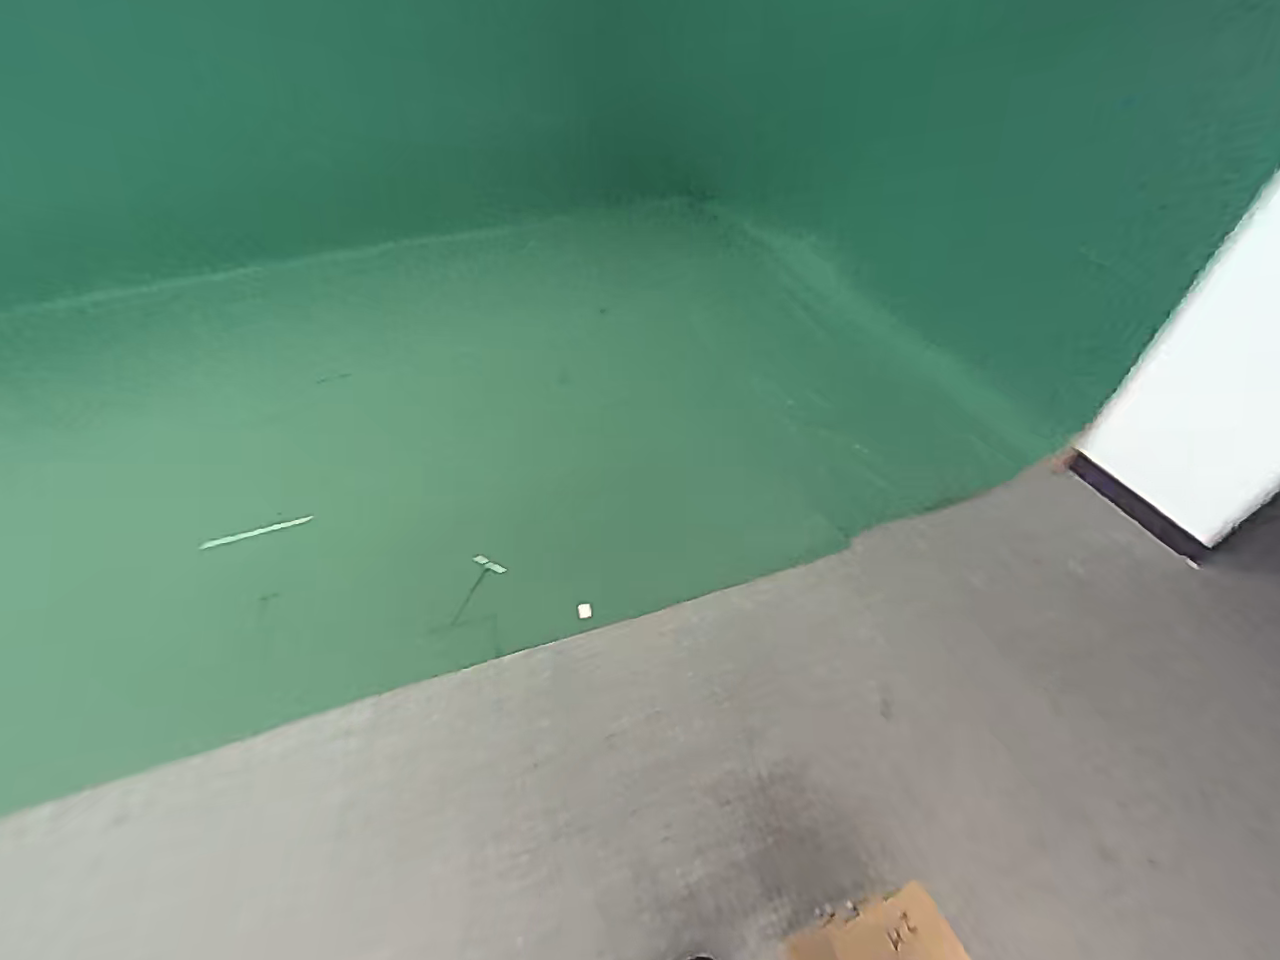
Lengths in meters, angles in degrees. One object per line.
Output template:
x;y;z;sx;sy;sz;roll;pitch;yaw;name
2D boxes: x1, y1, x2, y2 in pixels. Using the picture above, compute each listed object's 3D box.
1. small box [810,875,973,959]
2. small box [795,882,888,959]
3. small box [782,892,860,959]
0.373;0.718;0.782;0.168;0.176;0.179;-18;47;-14;small box
0.381;0.826;0.907;0.168;0.176;0.179;-19;47;-14;small box
0.393;0.934;1.032;0.168;0.176;0.179;-18;47;-13;small box
